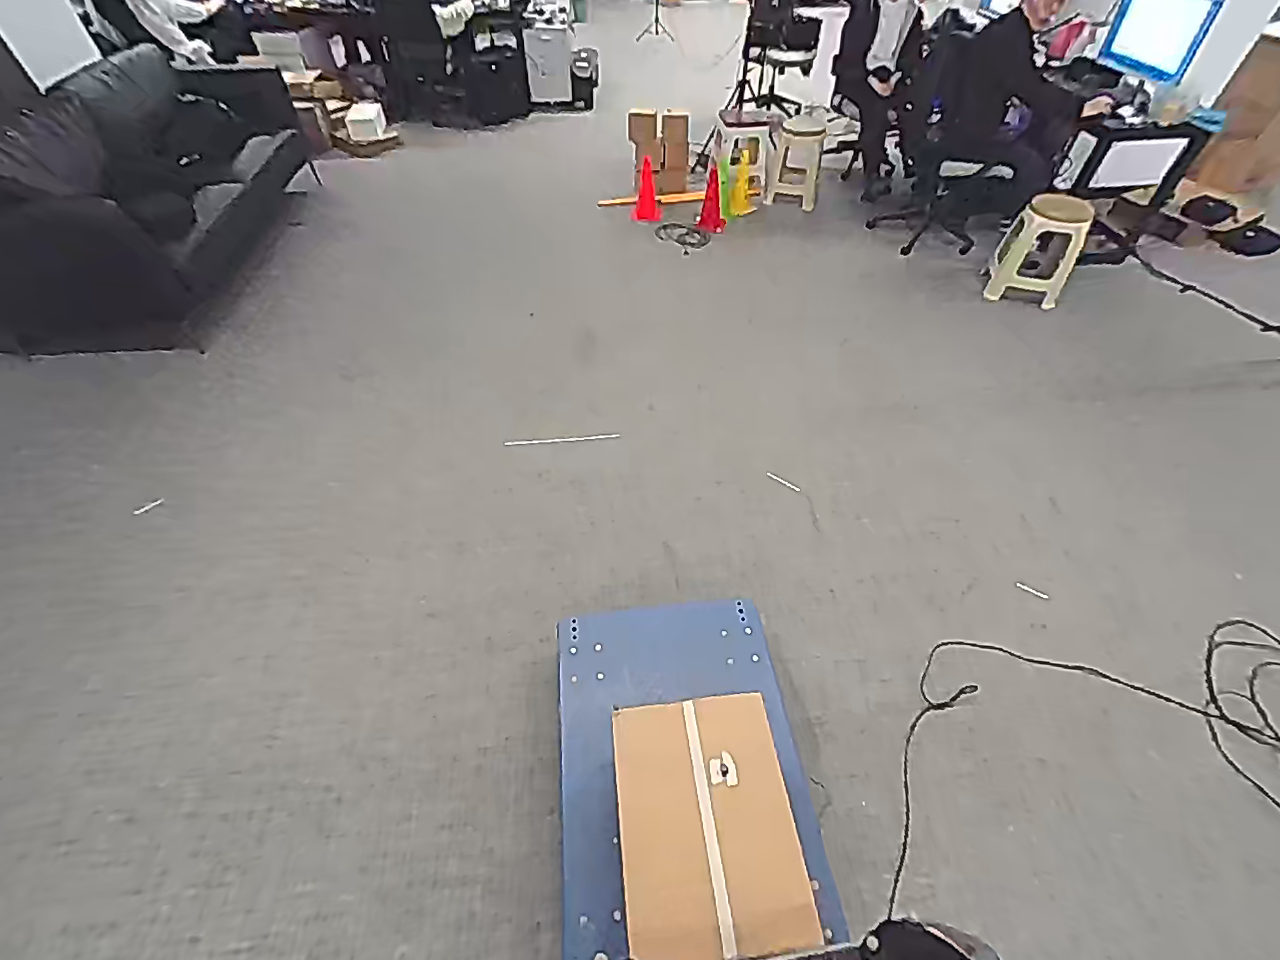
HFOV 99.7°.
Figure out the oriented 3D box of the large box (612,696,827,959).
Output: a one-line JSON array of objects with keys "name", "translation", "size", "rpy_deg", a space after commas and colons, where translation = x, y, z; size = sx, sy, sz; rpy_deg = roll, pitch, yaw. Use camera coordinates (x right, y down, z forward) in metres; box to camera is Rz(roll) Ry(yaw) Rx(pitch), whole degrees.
[{"name": "large box", "translation": [0.123, 0.705, 1.078], "size": [0.320, 0.320, 0.408], "rpy_deg": [-5, 48, -5]}]
